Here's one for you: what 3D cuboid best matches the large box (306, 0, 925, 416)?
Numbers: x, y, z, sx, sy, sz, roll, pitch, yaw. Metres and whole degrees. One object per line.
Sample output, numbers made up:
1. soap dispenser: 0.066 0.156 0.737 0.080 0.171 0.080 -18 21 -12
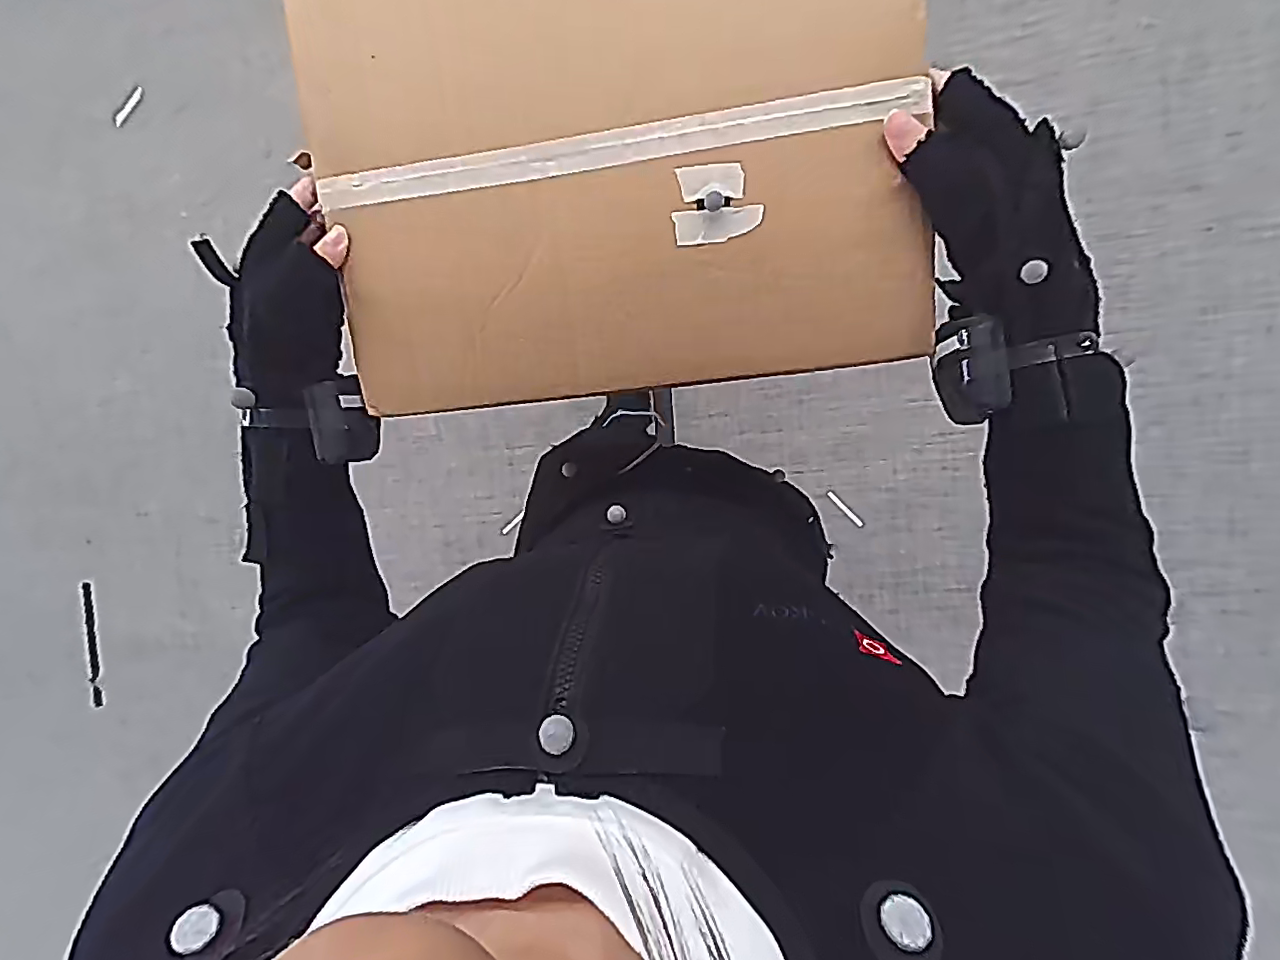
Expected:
1. large box: -0.006 -0.247 0.517 0.408 0.320 0.320 -6 100 6
